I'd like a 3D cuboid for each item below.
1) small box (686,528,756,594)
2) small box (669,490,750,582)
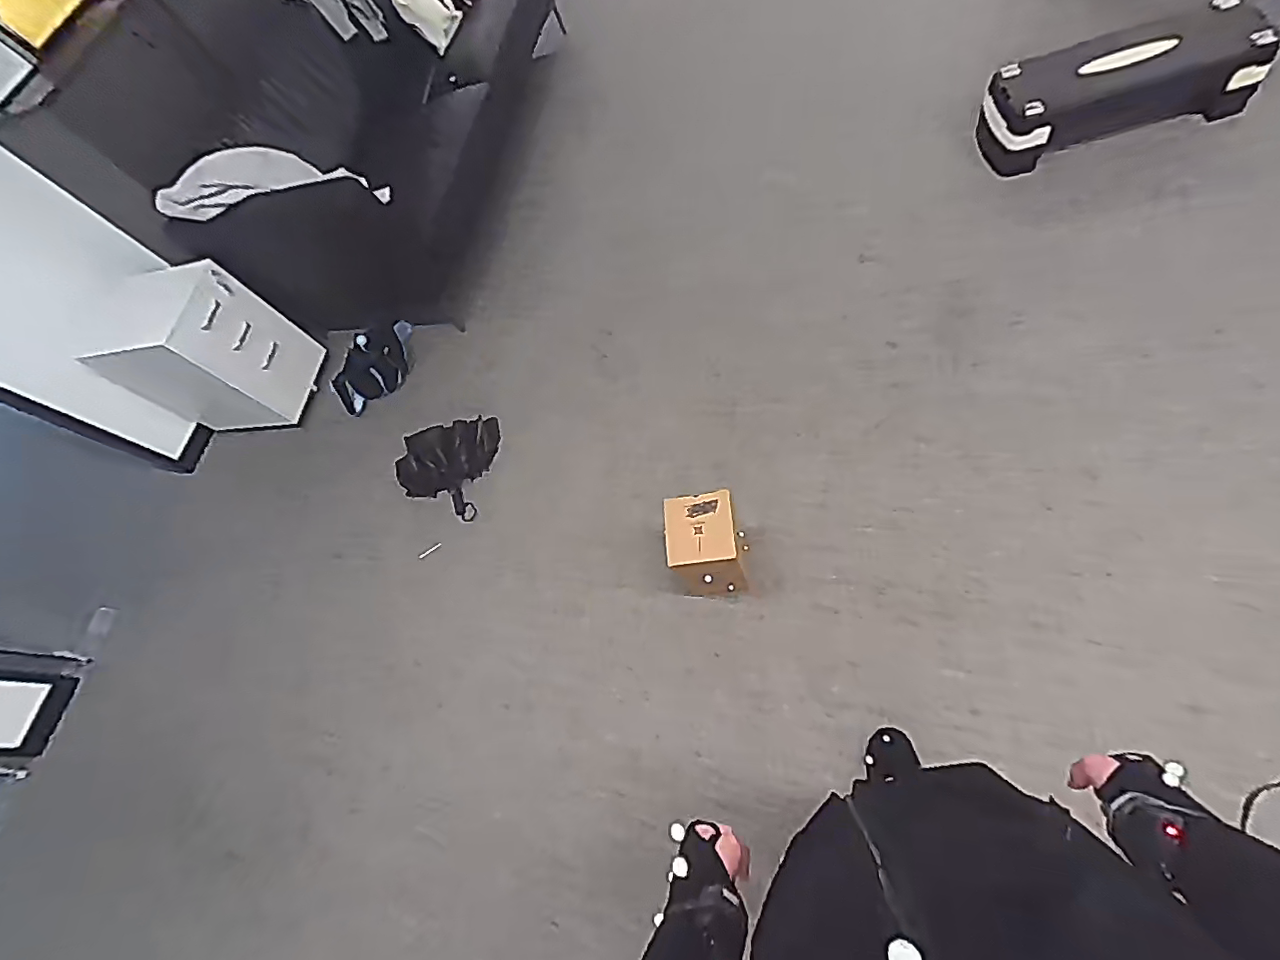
[{"bbox_3d":[0.221,0.209,1.494,0.168,0.176,0.179,-10,62,15],"label":"small box"},{"bbox_3d":[0.175,0.145,1.350,0.168,0.176,0.179,-10,64,16],"label":"small box"}]
